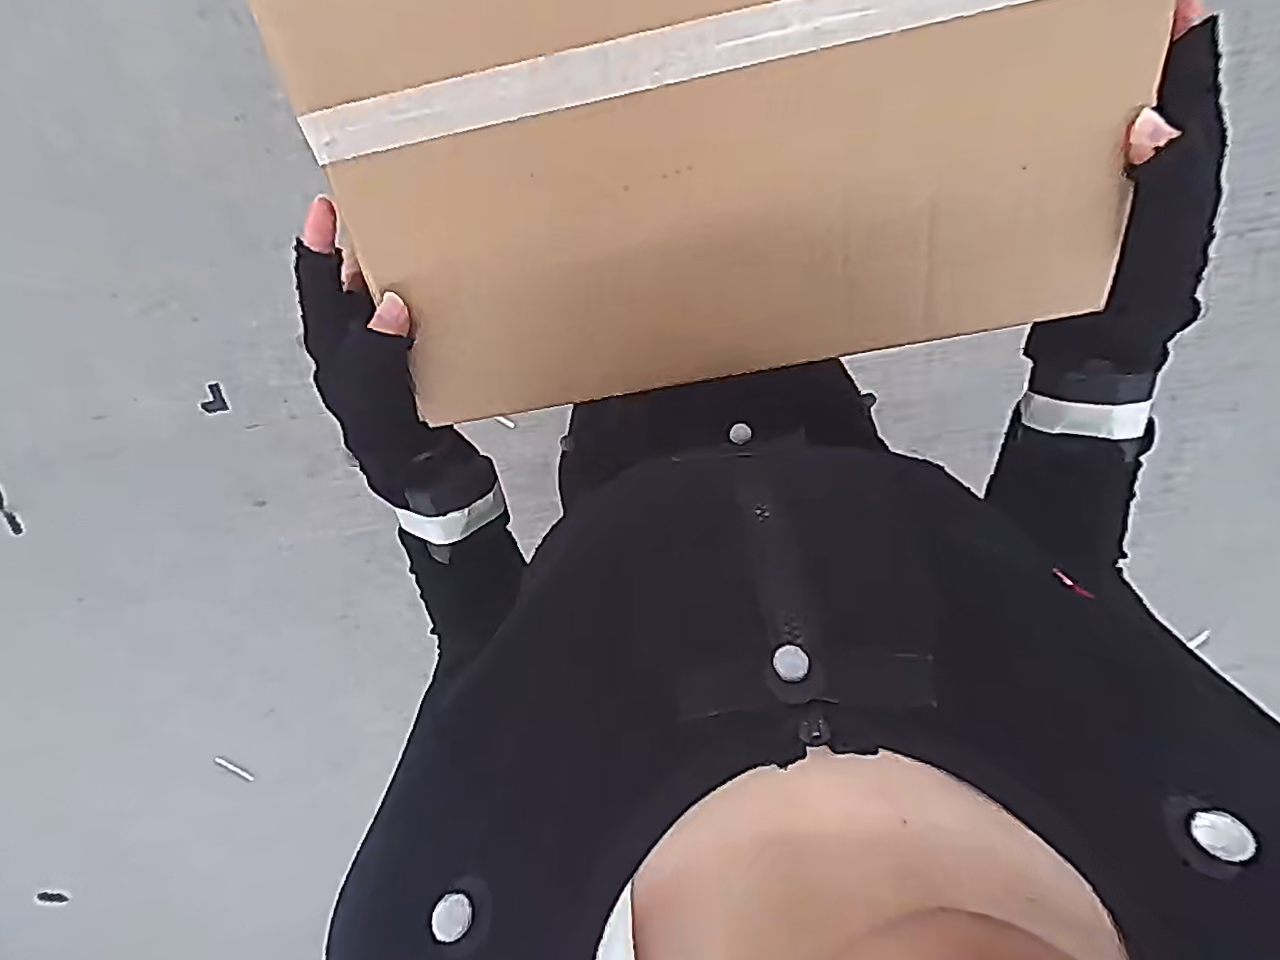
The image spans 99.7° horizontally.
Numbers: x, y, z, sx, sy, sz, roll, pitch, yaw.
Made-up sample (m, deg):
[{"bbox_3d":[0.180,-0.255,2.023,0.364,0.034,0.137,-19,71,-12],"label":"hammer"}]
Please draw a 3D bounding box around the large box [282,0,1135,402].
[{"bbox_3d":[0.032,-0.284,0.394,0.408,0.320,0.320,-9,118,5],"label":"large box"}]
